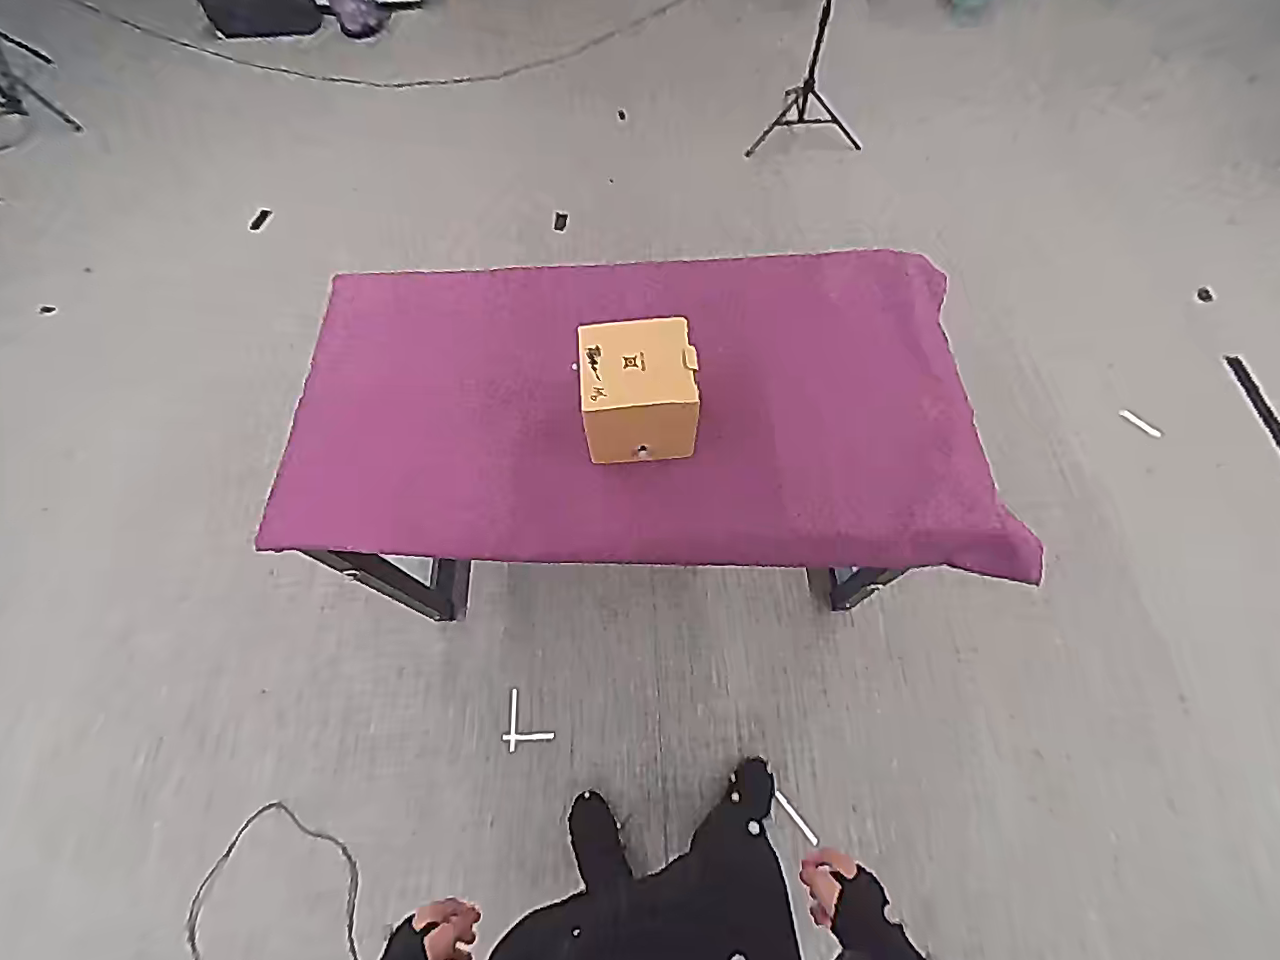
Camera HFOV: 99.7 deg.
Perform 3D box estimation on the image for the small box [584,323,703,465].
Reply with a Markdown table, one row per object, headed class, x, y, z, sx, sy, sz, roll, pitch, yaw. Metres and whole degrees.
| class | x | y | z | sx | sy | sz | roll | pitch | yaw |
| --- | --- | --- | --- | --- | --- | --- | --- | --- | --- |
| small box | 0.002 | -0.137 | 0.896 | 0.179 | 0.176 | 0.168 | -4 | 63 | -1 |
